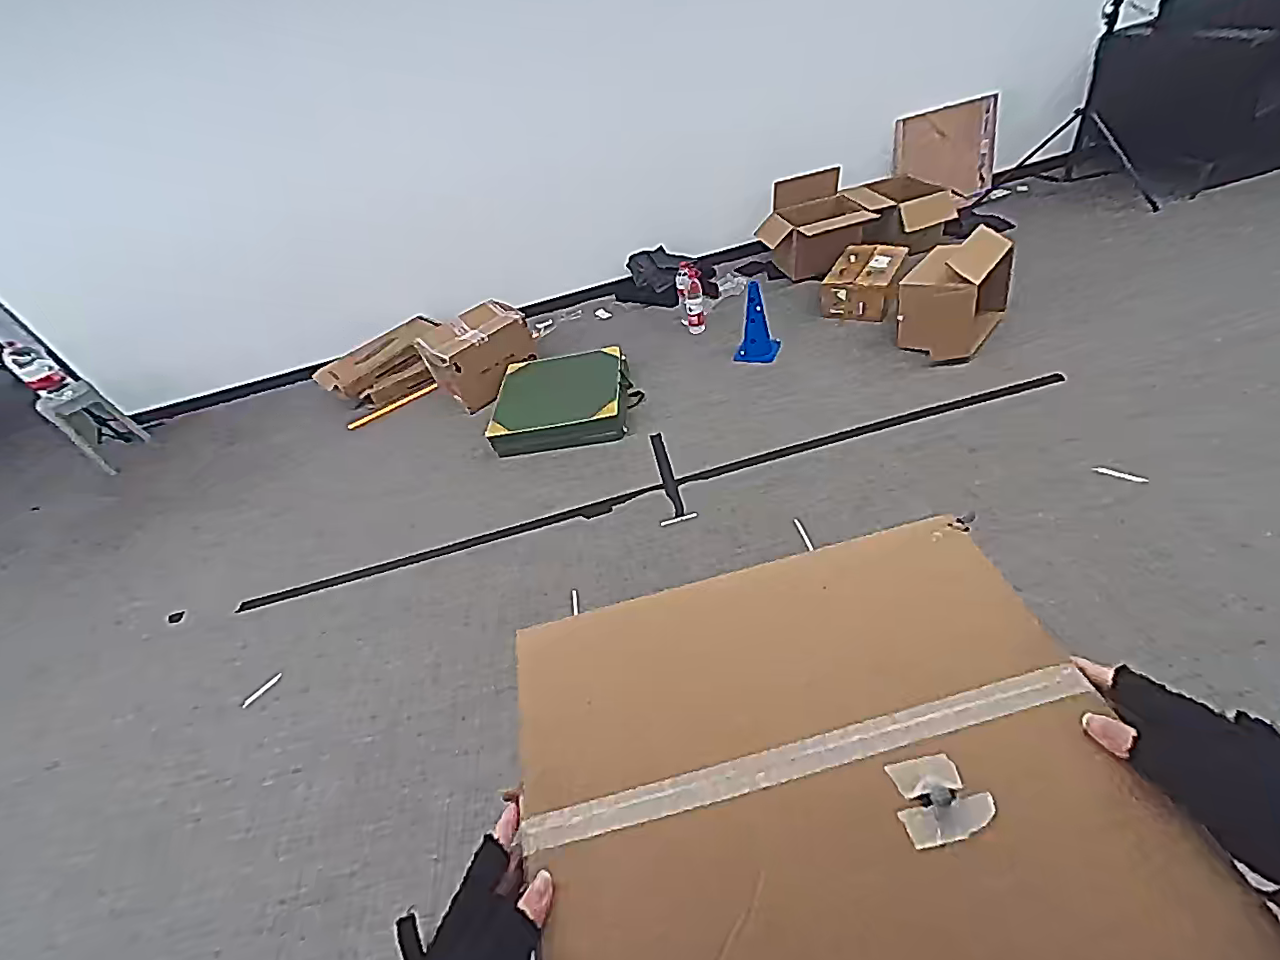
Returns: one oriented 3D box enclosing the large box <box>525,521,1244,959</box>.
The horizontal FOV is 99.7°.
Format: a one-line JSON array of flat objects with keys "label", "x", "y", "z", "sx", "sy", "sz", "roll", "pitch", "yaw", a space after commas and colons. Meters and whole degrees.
[{"label": "large box", "x": 0.140, "y": 0.296, "z": 0.504, "sx": 0.408, "sy": 0.320, "sz": 0.320, "roll": -15, "pitch": 48, "yaw": -2}]
